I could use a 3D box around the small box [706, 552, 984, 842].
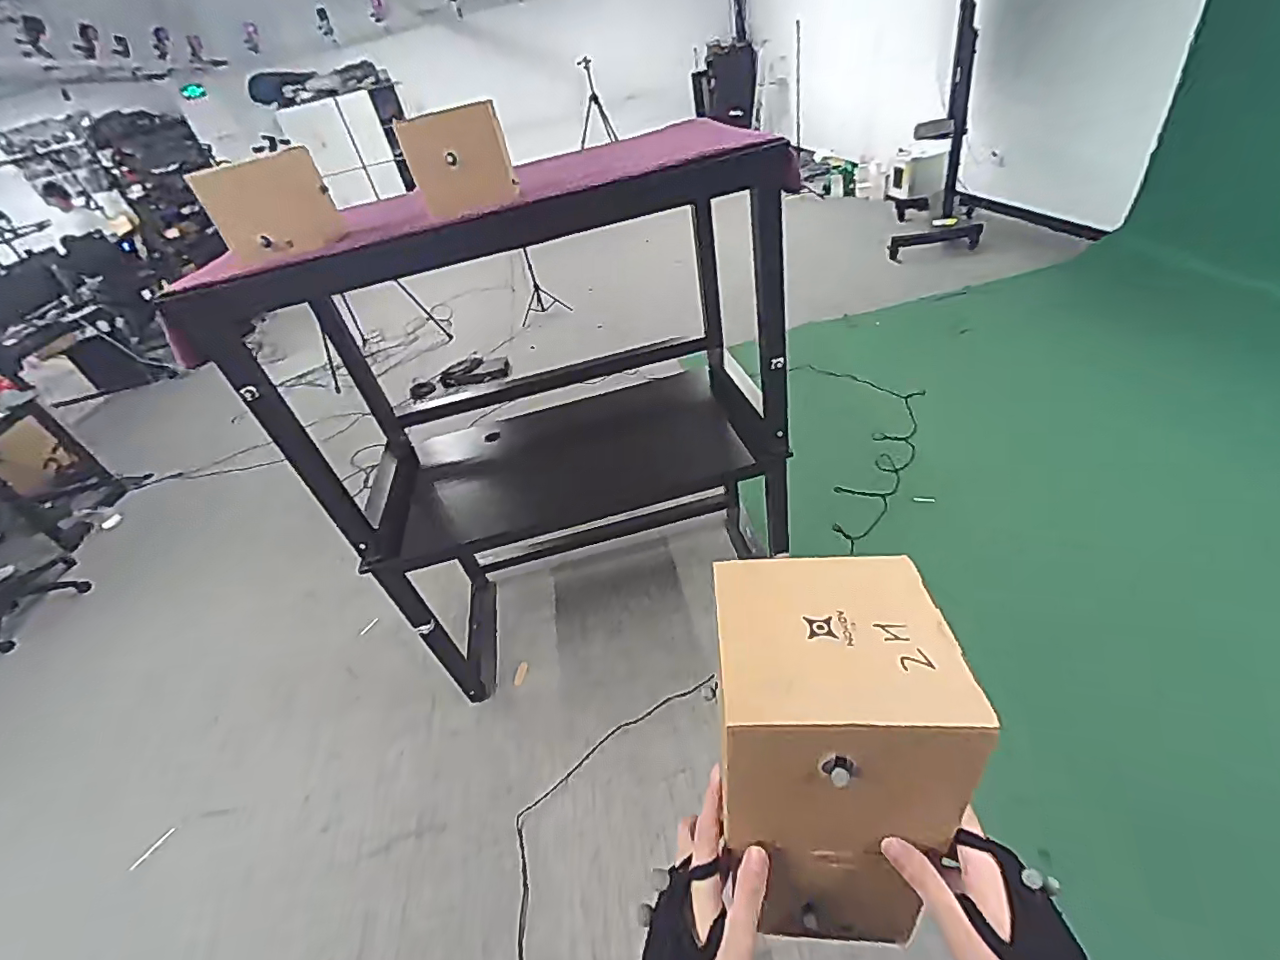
[{"bbox_3d":[0.148,0.179,0.460,0.179,0.176,0.168,-2,32,6],"label":"small box"}]

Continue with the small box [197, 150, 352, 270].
[{"bbox_3d":[-0.696,-0.528,1.058,0.168,0.176,0.179,-16,37,-2],"label":"small box"}]

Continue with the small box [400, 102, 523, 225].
[{"bbox_3d":[-0.341,-0.630,1.076,0.179,0.176,0.168,-15,37,1],"label":"small box"}]

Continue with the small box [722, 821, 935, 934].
[{"bbox_3d":[0.168,0.316,0.550,0.168,0.176,0.179,-1,33,7],"label":"small box"}]
